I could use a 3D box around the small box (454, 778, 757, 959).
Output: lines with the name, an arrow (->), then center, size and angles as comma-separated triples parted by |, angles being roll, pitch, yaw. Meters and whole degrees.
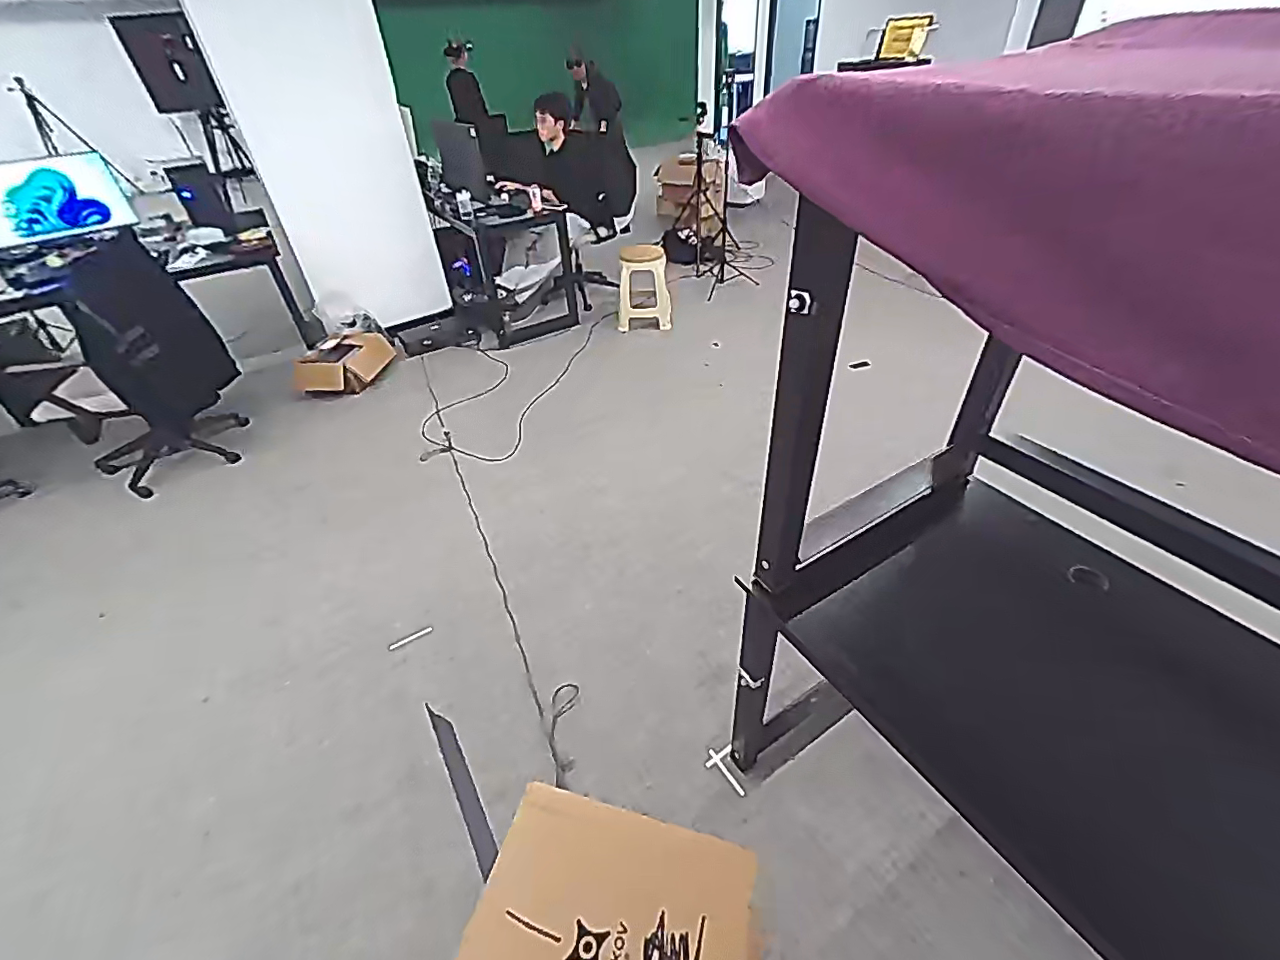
small box -> -0.030, 0.356, 0.391 | 0.179, 0.176, 0.168 | 15, 41, 10
